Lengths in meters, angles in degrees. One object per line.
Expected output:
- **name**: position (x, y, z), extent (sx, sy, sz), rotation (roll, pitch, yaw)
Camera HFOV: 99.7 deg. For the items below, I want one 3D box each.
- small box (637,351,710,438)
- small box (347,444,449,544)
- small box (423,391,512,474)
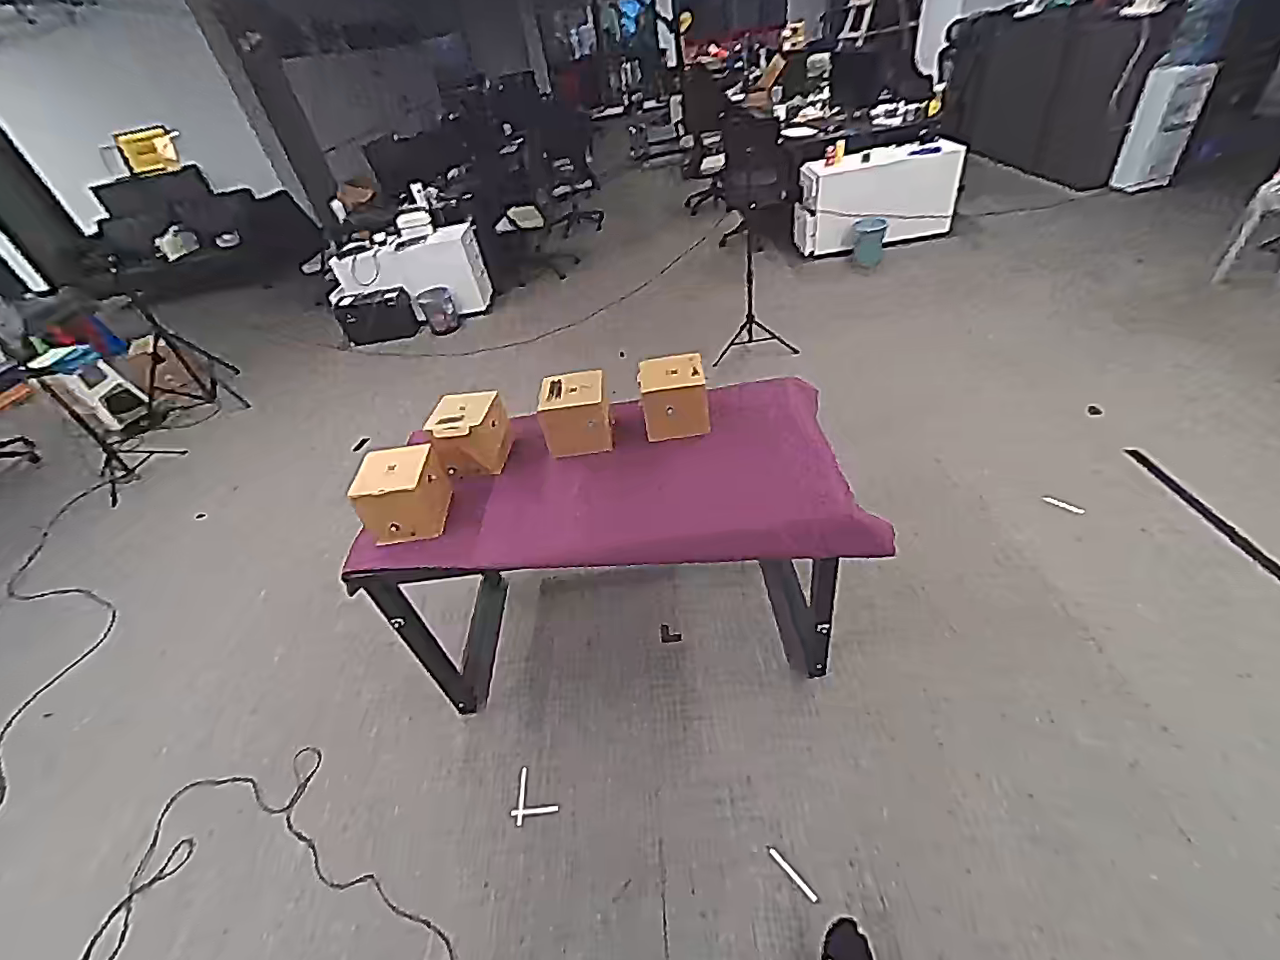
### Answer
- **small box**: position (0.094, -0.235, 1.509), extent (0.179, 0.176, 0.168), rotation (-8, 43, 5)
- **small box**: position (-0.594, 0.036, 1.357), extent (0.168, 0.176, 0.179), rotation (-9, 41, 0)
- **small box**: position (-0.476, -0.129, 1.523), extent (0.168, 0.176, 0.179), rotation (-4, 41, 8)
